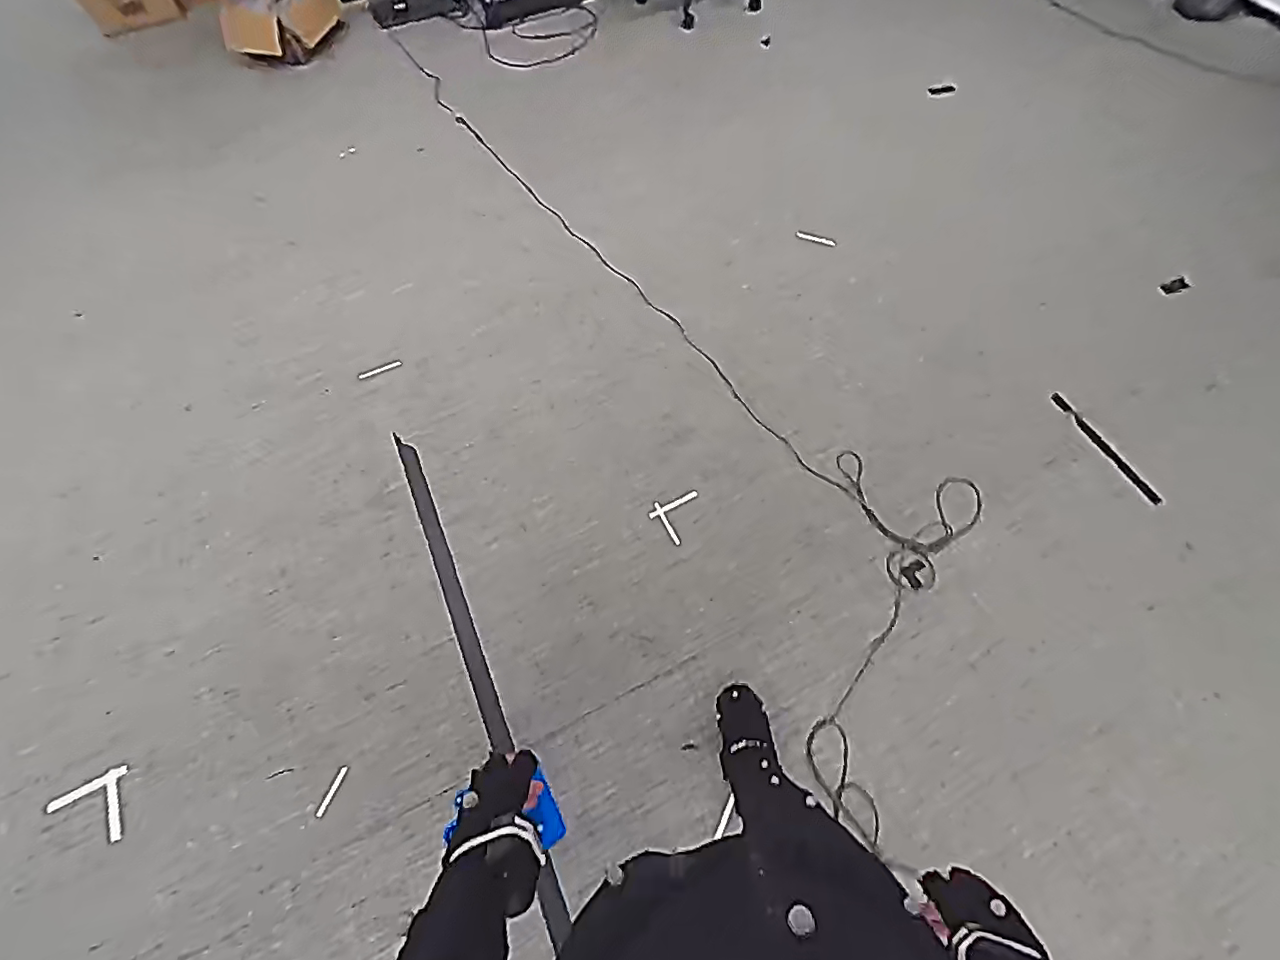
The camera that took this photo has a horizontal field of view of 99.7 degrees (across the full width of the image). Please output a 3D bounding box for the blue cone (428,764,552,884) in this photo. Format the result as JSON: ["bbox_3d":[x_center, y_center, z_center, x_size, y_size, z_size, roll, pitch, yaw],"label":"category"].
[{"bbox_3d":[-0.314,0.682,1.056,0.192,0.380,0.193,-28,65,-10],"label":"blue cone"}]
